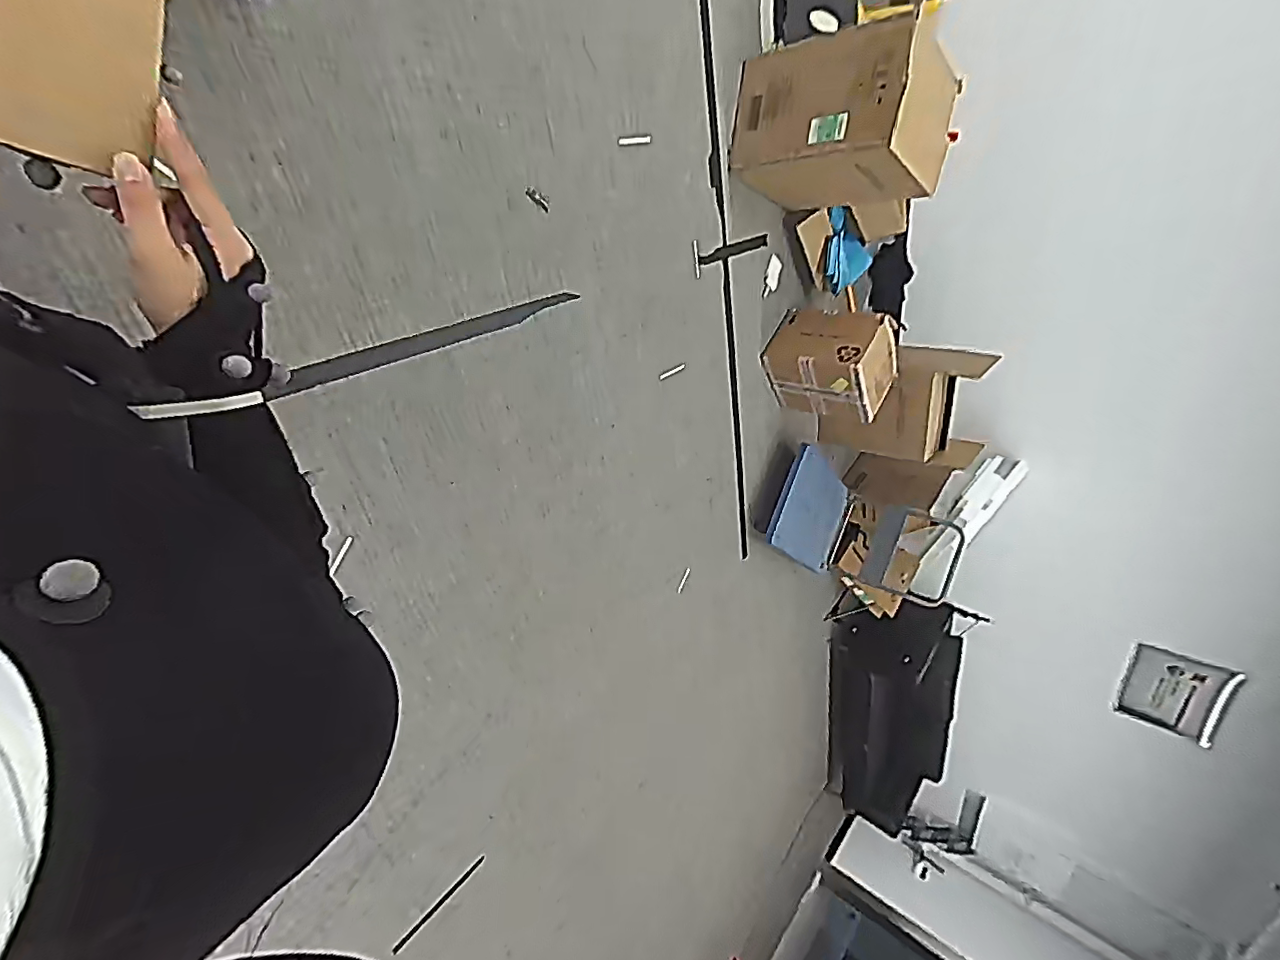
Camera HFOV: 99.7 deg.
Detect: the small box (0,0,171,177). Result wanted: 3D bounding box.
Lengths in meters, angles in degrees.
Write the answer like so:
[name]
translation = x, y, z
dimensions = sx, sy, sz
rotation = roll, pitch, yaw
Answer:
[small box]
translation = -0.372, -0.286, 0.287
dimensions = 0.179, 0.176, 0.168
rotation = 5, 108, -46
